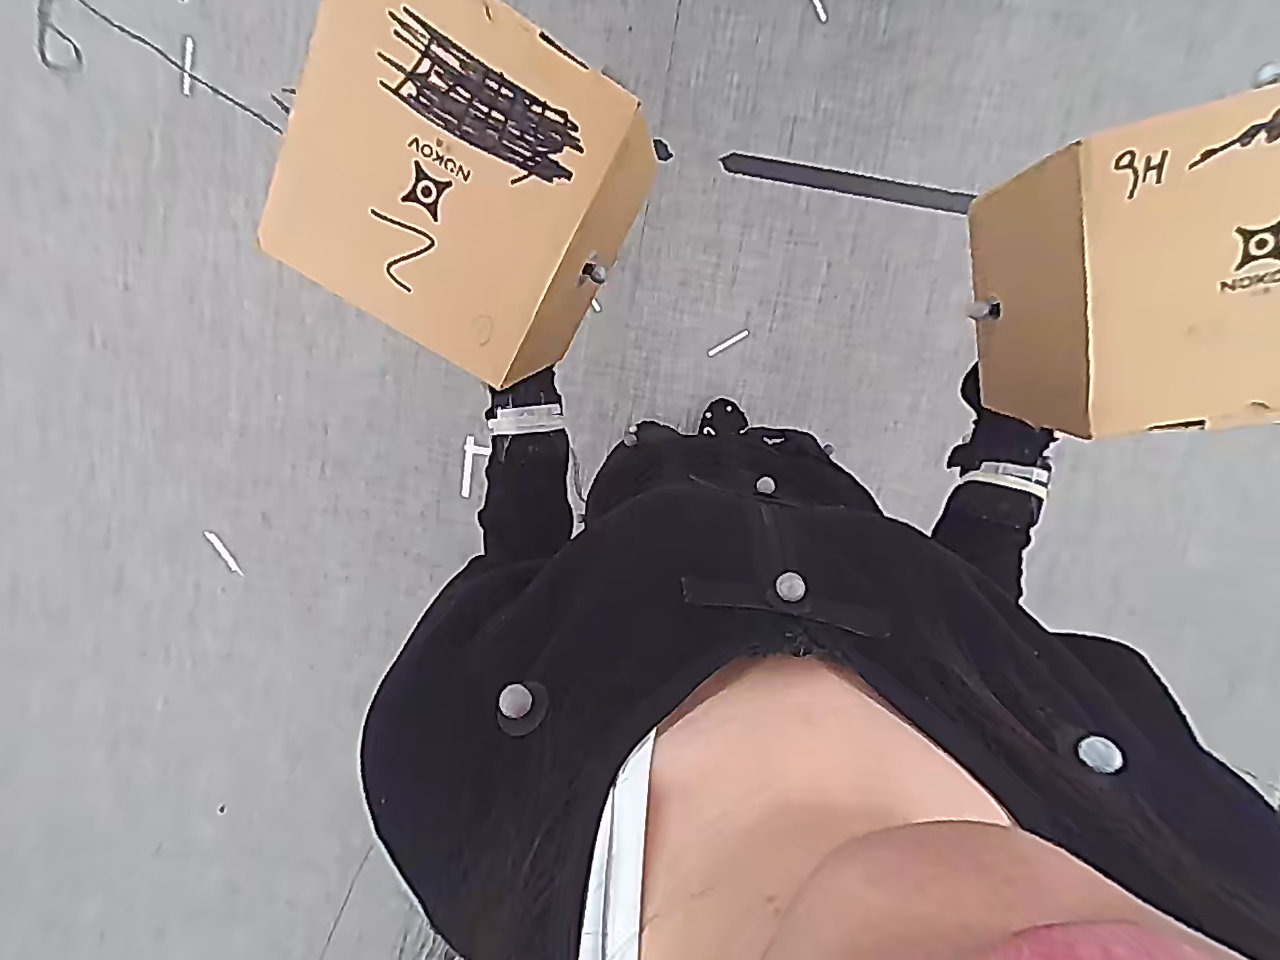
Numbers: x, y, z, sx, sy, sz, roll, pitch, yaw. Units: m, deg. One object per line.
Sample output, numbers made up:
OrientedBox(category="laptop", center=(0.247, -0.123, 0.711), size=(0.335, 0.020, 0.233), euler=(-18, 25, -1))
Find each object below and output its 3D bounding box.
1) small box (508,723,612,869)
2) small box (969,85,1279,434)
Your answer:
OrientedBox(category="small box", center=(-0.146, 0.593, 1.035), size=(0.168, 0.176, 0.179), euler=(3, 98, 4))
OrientedBox(category="small box", center=(0.354, -0.144, 0.379), size=(0.168, 0.176, 0.179), euler=(-9, 104, 13))
